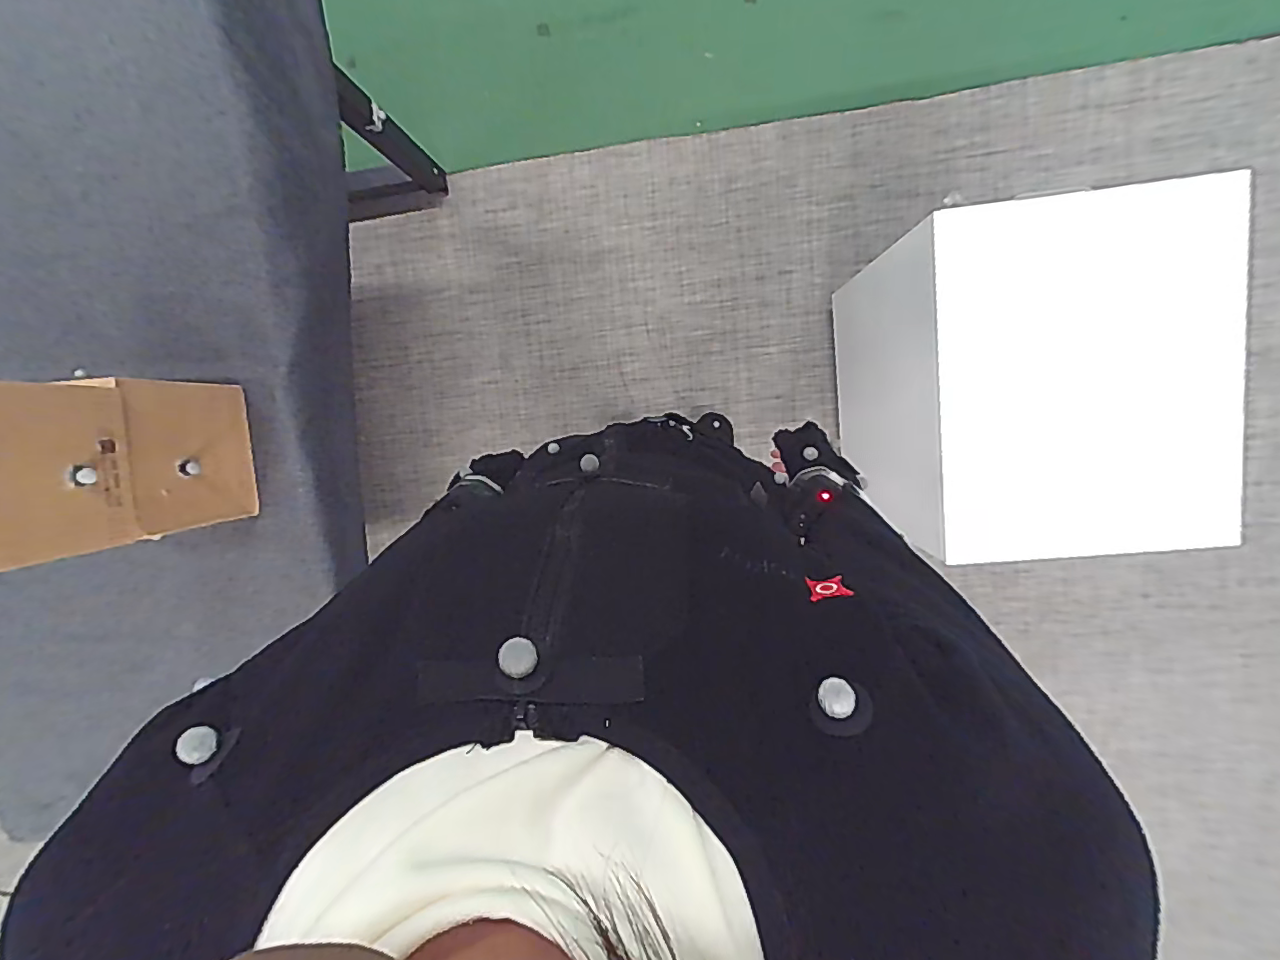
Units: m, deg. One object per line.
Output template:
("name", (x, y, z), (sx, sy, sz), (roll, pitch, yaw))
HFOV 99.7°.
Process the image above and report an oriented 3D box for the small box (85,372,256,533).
("small box", (-0.617, -0.038, 0.670), (0.168, 0.176, 0.179), (-3, 98, 7))
